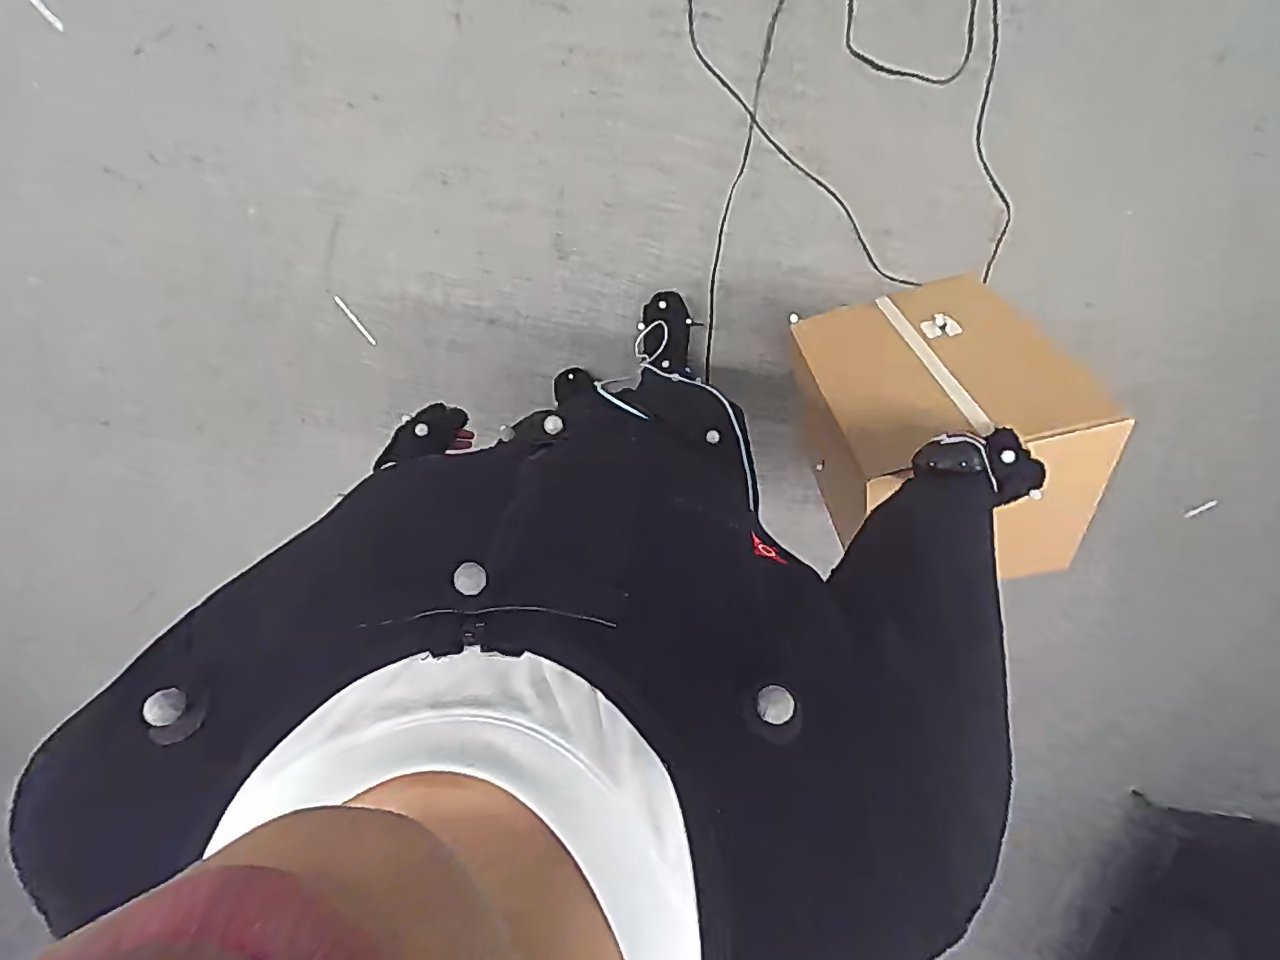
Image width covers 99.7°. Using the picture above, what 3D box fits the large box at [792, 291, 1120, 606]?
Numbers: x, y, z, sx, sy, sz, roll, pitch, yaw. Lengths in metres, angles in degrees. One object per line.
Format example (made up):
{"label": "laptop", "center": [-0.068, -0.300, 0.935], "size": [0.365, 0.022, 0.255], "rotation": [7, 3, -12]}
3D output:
{"label": "large box", "center": [0.474, -0.057, 0.919], "size": [0.320, 0.408, 0.320], "rotation": [-12, 132, 9]}
